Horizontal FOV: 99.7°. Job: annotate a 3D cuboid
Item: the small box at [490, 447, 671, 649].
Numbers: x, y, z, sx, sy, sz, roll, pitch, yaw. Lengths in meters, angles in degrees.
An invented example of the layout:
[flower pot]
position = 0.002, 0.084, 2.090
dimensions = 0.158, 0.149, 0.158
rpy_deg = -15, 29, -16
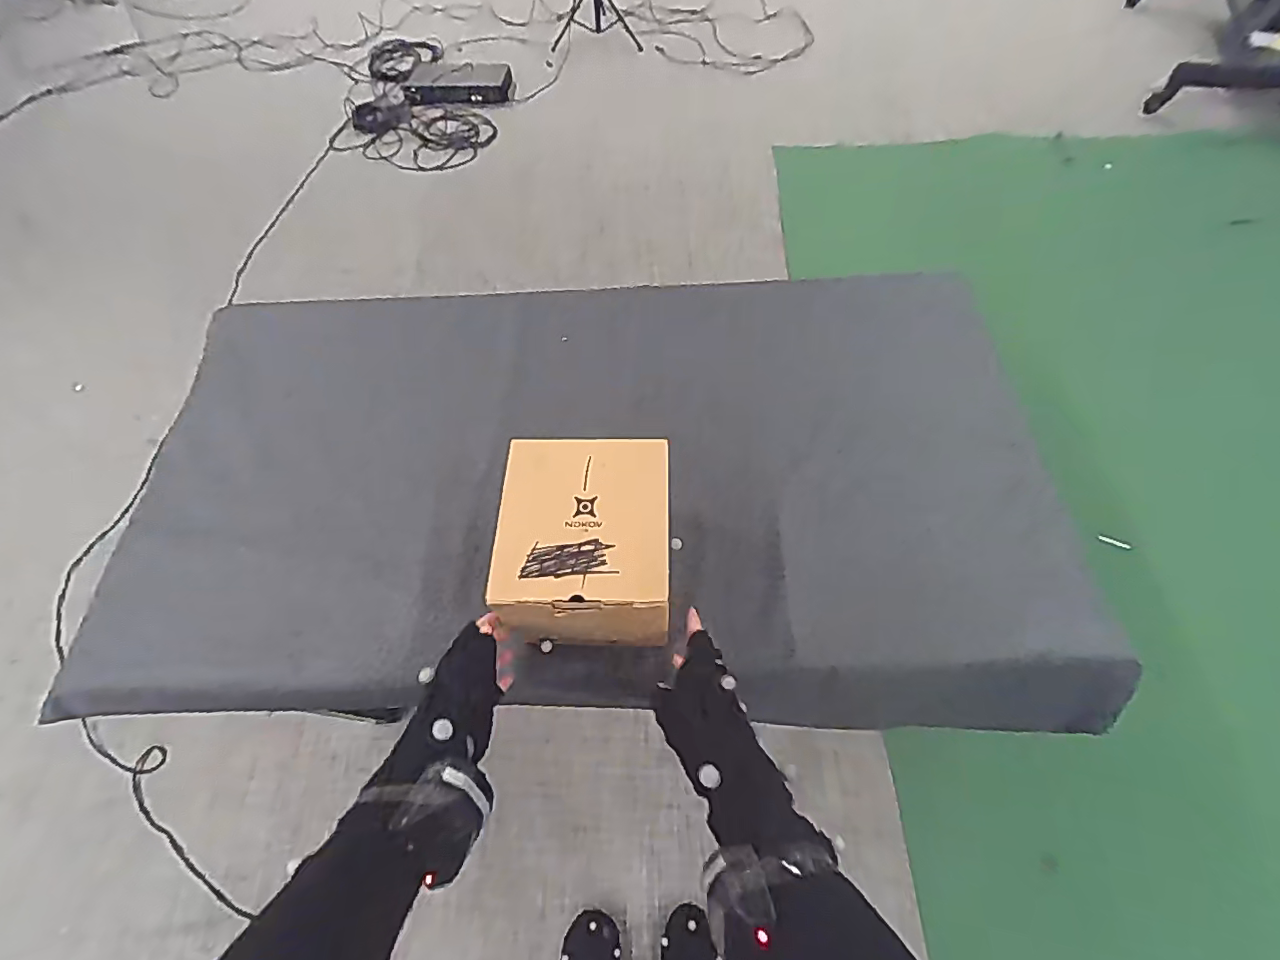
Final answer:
[small box]
position = -0.050, 0.082, 0.599
dimensions = 0.168, 0.176, 0.179
rpy_deg = 2, 60, 2
